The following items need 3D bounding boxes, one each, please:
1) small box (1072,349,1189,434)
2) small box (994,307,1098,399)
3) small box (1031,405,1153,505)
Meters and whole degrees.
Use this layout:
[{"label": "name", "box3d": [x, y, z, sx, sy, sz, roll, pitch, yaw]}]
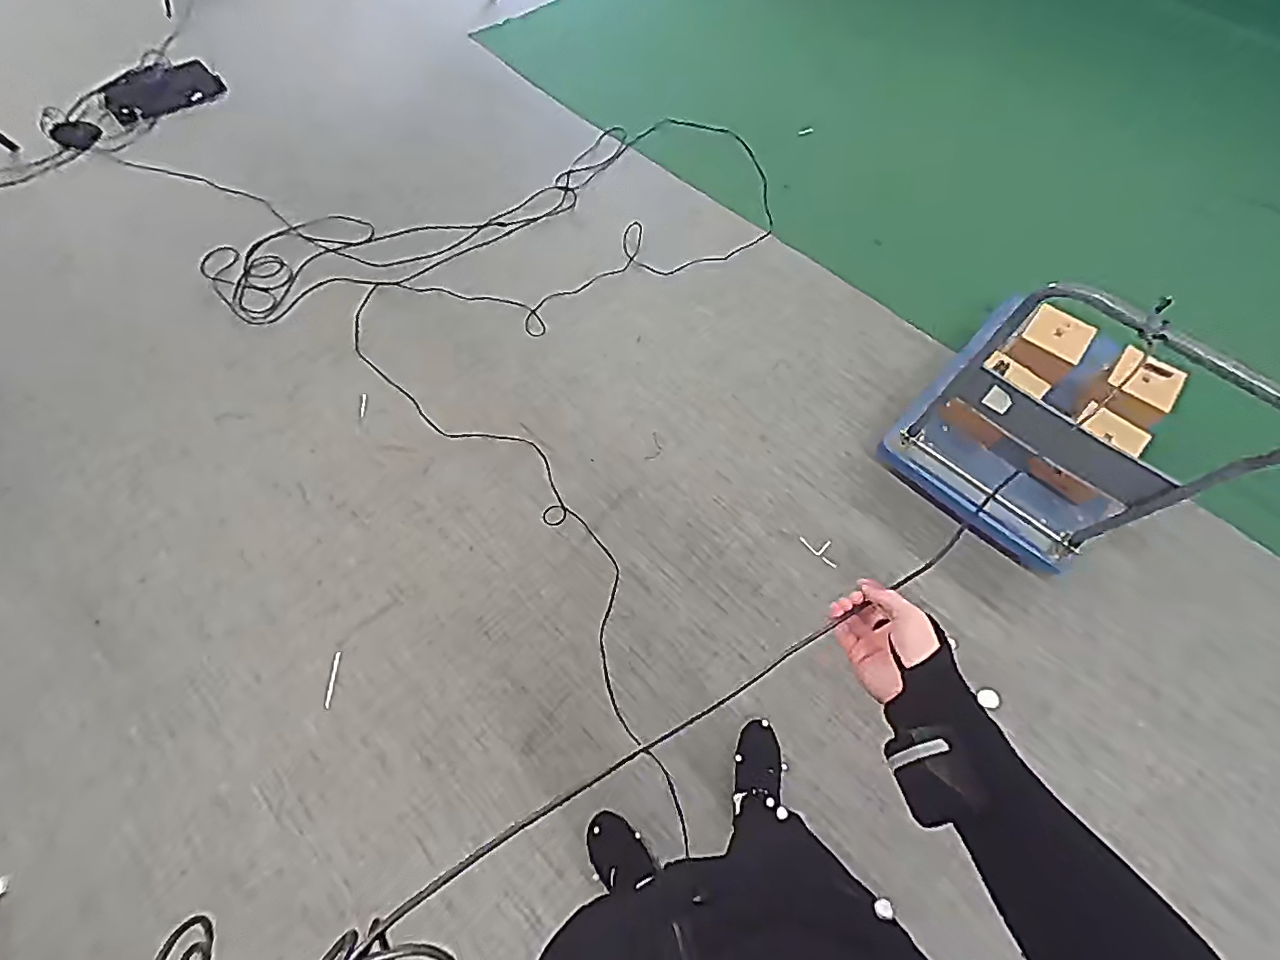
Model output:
[{"label": "small box", "box3d": [1.421, -0.238, 1.577, 0.168, 0.176, 0.179, 37, 70, 18]}, {"label": "small box", "box3d": [1.228, -0.382, 1.651, 0.168, 0.176, 0.179, 37, 69, 16]}, {"label": "small box", "box3d": [1.233, -0.065, 1.489, 0.168, 0.176, 0.179, 42, 71, 19]}]
